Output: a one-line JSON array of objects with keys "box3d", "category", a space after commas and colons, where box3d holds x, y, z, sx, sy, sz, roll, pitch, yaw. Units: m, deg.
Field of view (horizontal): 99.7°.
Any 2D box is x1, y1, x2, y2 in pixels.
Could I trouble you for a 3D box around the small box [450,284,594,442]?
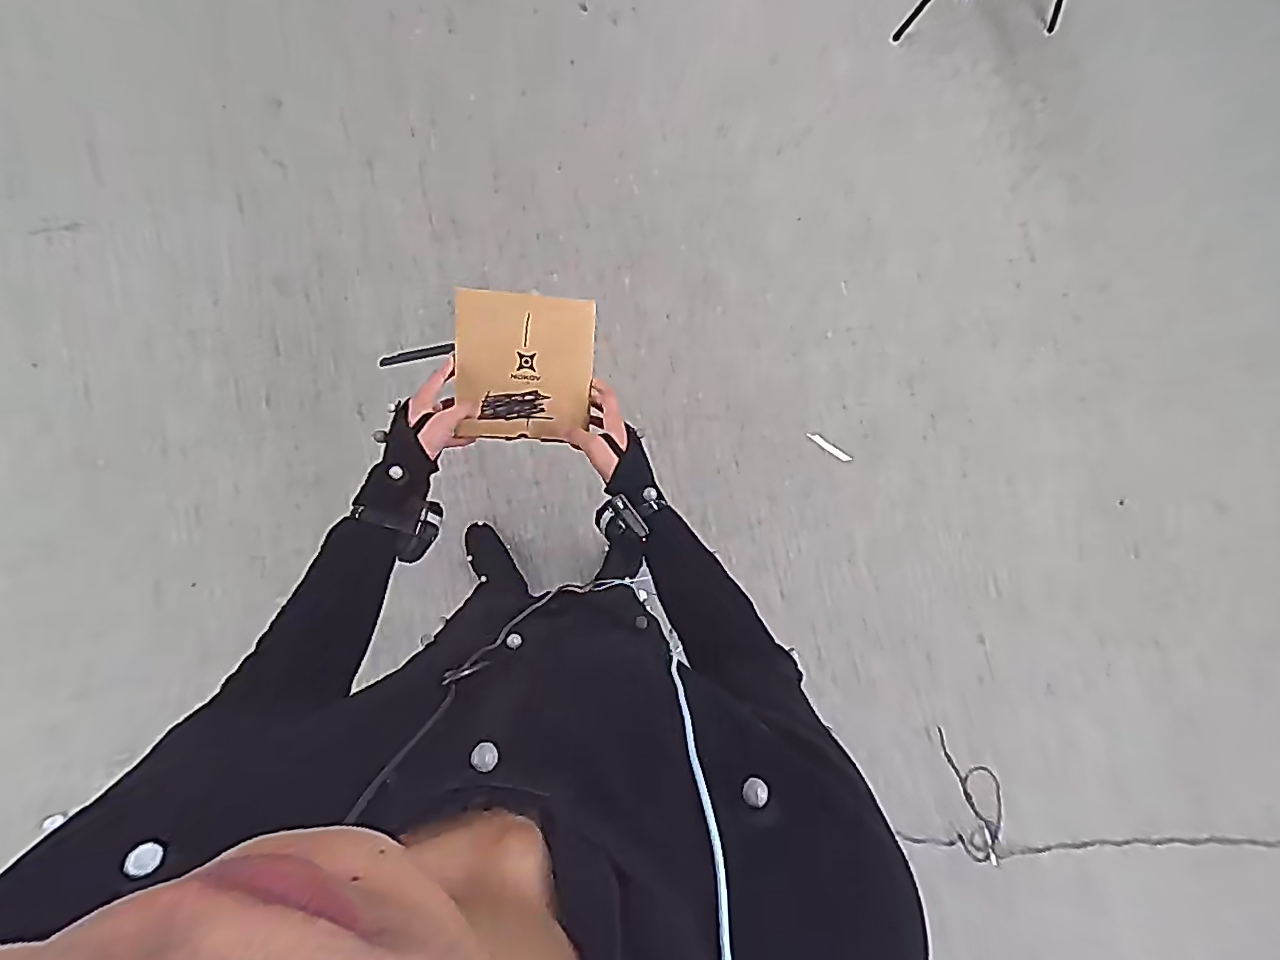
[{"box3d": [-0.156, -0.154, 0.725, 0.168, 0.176, 0.179, 2, 102, -12], "category": "small box"}]
